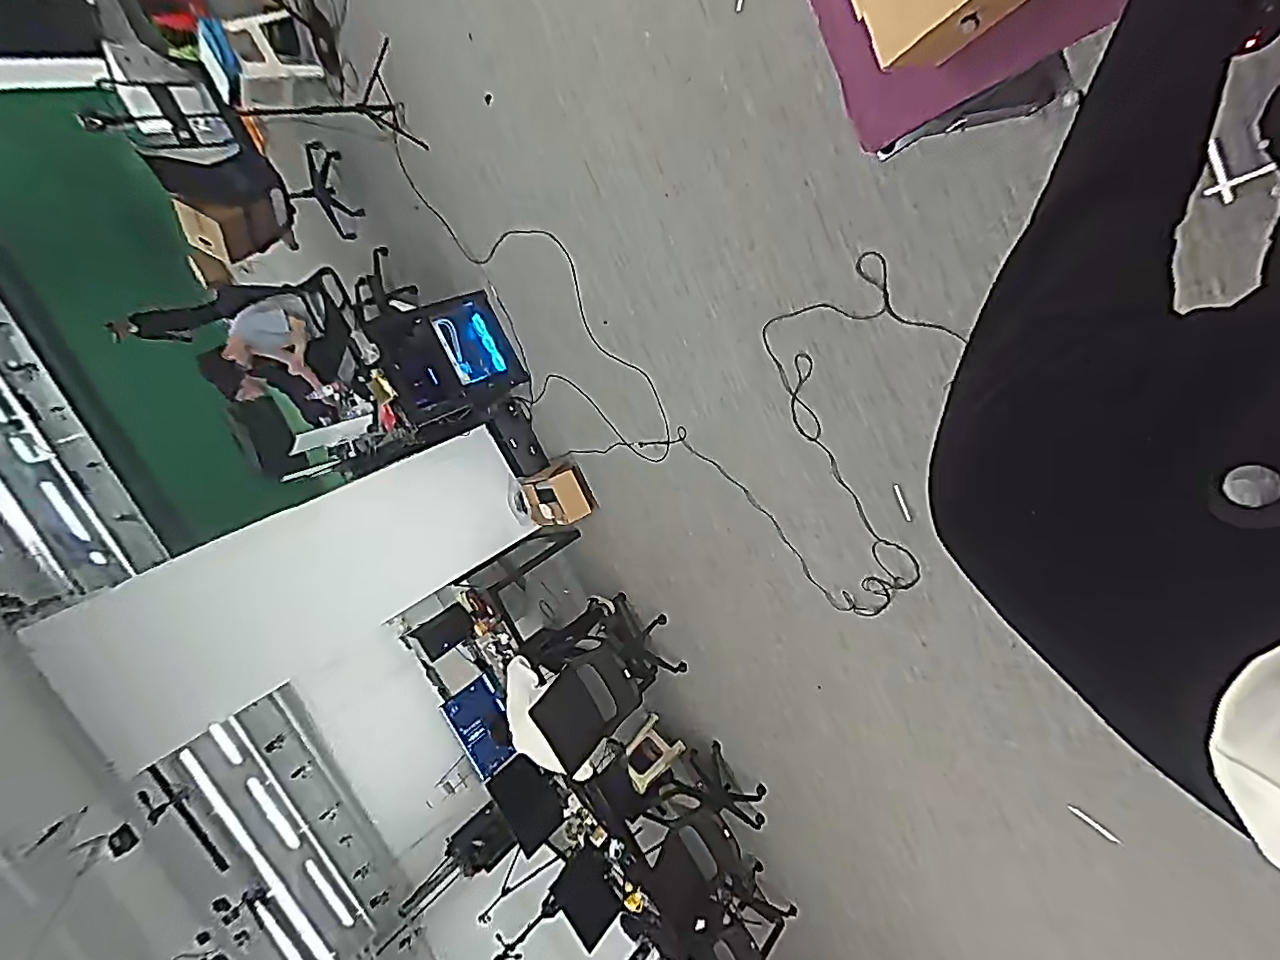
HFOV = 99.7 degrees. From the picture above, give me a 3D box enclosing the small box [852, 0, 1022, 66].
[{"bbox_3d":[0.339,-0.583,0.574,0.179,0.176,0.168,-13,107,54],"label":"small box"}]
